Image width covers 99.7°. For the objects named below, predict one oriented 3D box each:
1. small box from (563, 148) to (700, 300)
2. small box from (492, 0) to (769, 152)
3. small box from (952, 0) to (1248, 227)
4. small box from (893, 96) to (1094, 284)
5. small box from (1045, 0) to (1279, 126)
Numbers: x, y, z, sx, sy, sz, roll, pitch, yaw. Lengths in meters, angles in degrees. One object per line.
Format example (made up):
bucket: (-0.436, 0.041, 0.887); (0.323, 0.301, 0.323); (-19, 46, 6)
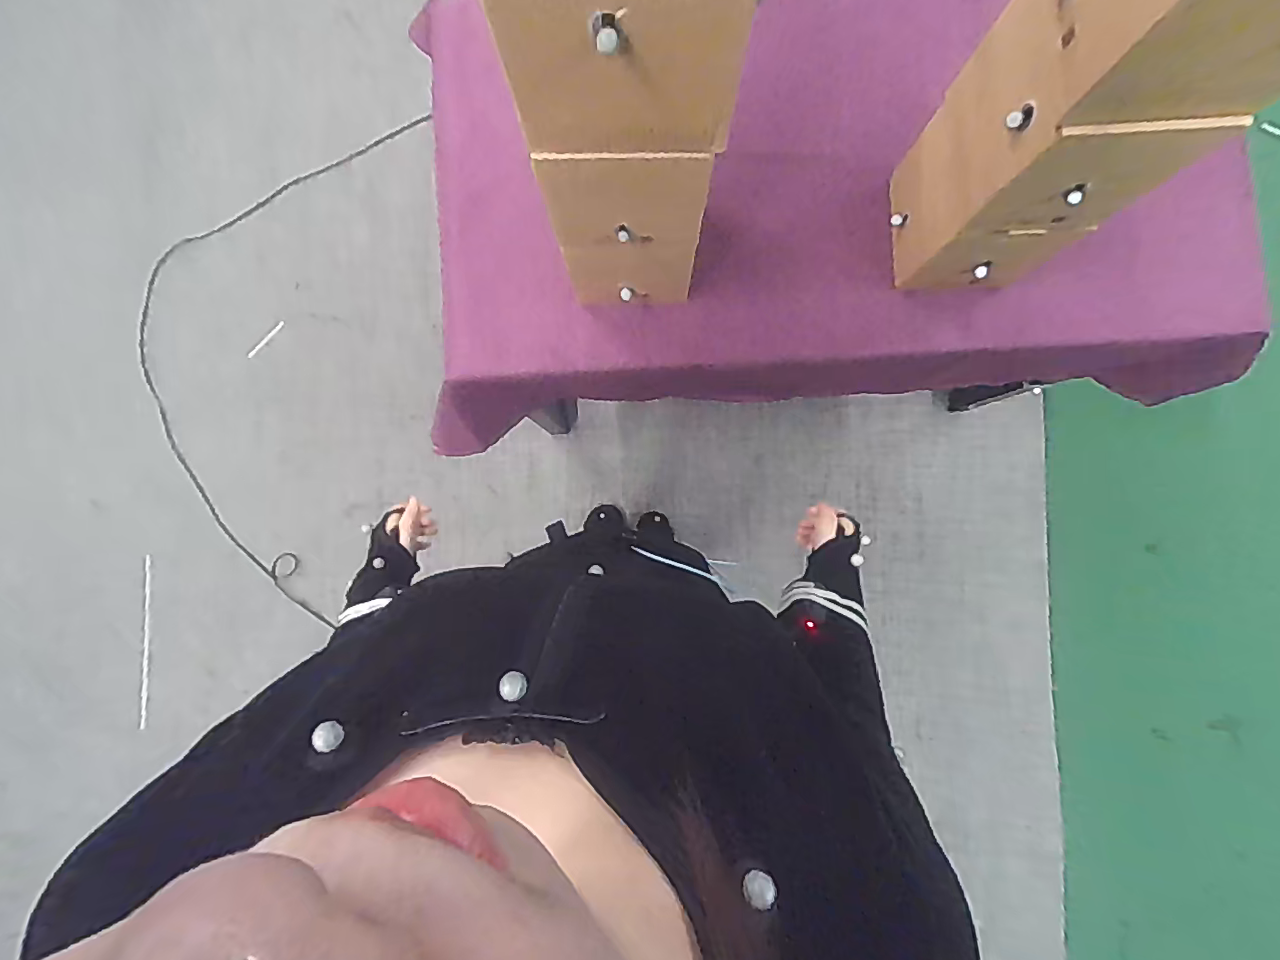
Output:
small box: (-0.009, -0.361, 0.729); (0.168, 0.176, 0.179); (0, 88, 1)
small box: (-0.003, -0.374, 0.402); (0.179, 0.176, 0.168); (1, 88, 1)
small box: (0.451, -0.382, 0.559); (0.168, 0.176, 0.179); (-2, 87, 0)
small box: (0.457, -0.374, 0.724); (0.168, 0.176, 0.179); (-1, 88, 0)
small box: (0.445, -0.394, 0.396); (0.179, 0.176, 0.168); (-2, 86, 1)
